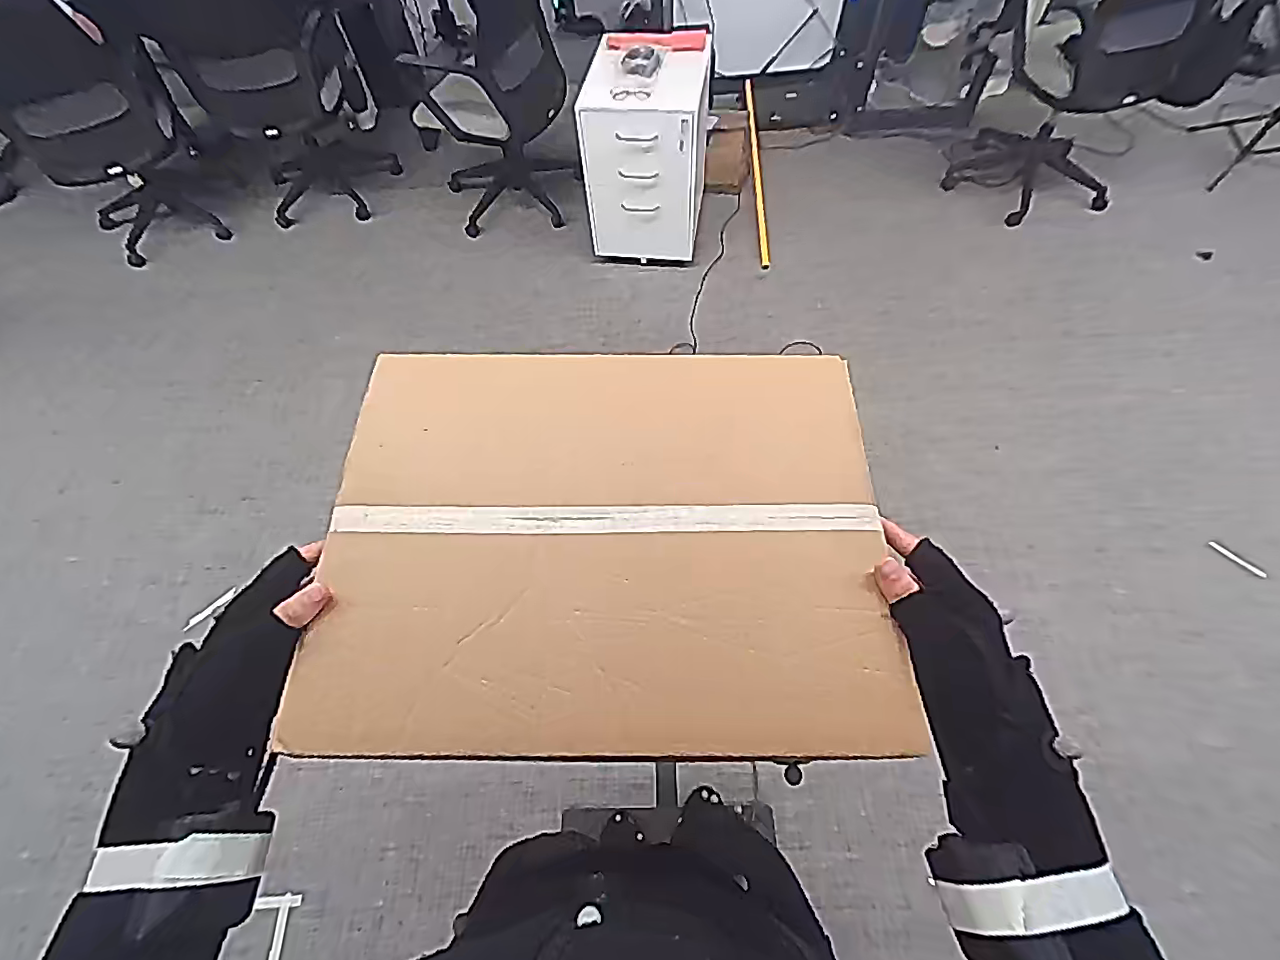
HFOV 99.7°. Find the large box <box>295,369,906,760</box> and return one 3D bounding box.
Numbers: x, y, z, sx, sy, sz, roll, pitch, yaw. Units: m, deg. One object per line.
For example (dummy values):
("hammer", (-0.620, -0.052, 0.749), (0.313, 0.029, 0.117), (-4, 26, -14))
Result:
("large box", (-0.025, 0.104, 0.547), (0.408, 0.320, 0.320), (1, 62, -1))

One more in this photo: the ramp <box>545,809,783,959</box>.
("ramp", (0.048, 1.159, 0.948), (0.509, 0.206, 0.991), (-4, 59, 1))
